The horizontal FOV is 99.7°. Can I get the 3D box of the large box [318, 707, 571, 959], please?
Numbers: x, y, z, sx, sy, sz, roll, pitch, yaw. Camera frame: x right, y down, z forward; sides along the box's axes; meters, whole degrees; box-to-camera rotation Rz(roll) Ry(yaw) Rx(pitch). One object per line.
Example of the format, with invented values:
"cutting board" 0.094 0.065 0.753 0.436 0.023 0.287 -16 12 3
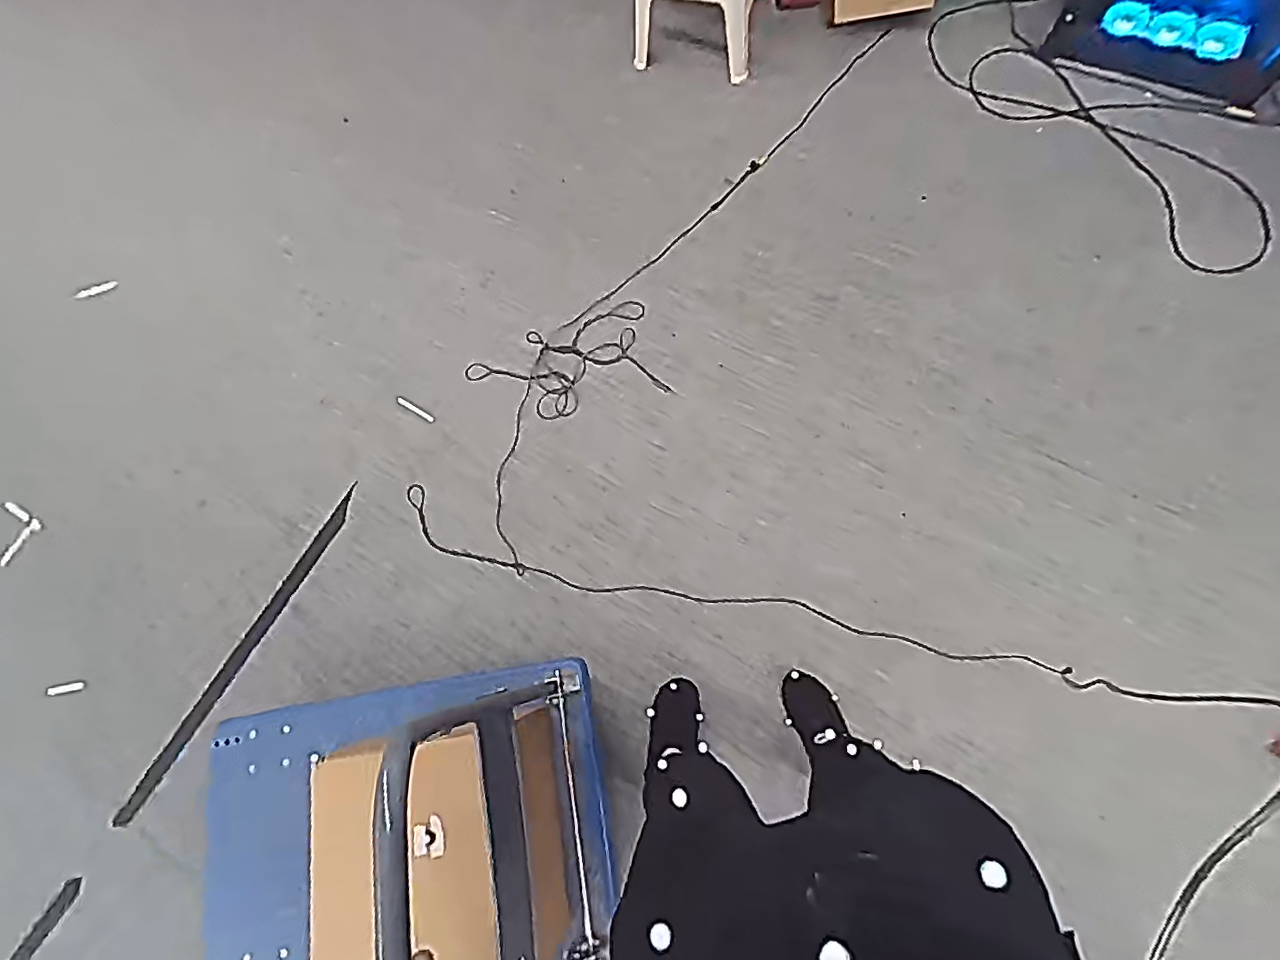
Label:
"large box" -0.331 0.659 0.969 0.320 0.320 0.408 -11 73 3
